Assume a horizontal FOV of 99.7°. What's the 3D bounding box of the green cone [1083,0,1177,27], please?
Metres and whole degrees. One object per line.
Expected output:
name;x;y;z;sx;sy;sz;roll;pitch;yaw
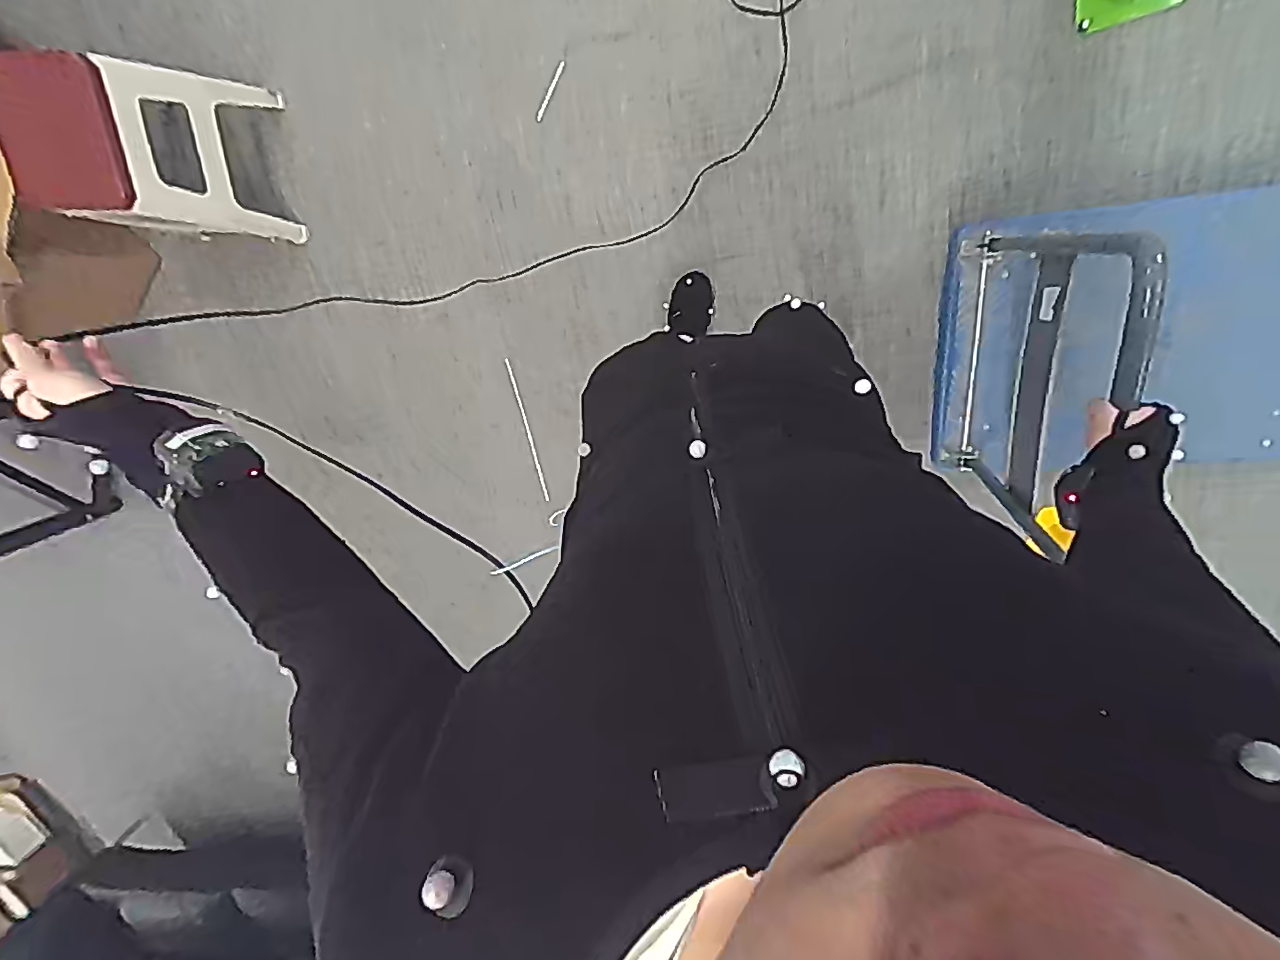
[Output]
green cone;0.963;-0.985;0.914;0.200;0.368;0.202;-11;108;15
